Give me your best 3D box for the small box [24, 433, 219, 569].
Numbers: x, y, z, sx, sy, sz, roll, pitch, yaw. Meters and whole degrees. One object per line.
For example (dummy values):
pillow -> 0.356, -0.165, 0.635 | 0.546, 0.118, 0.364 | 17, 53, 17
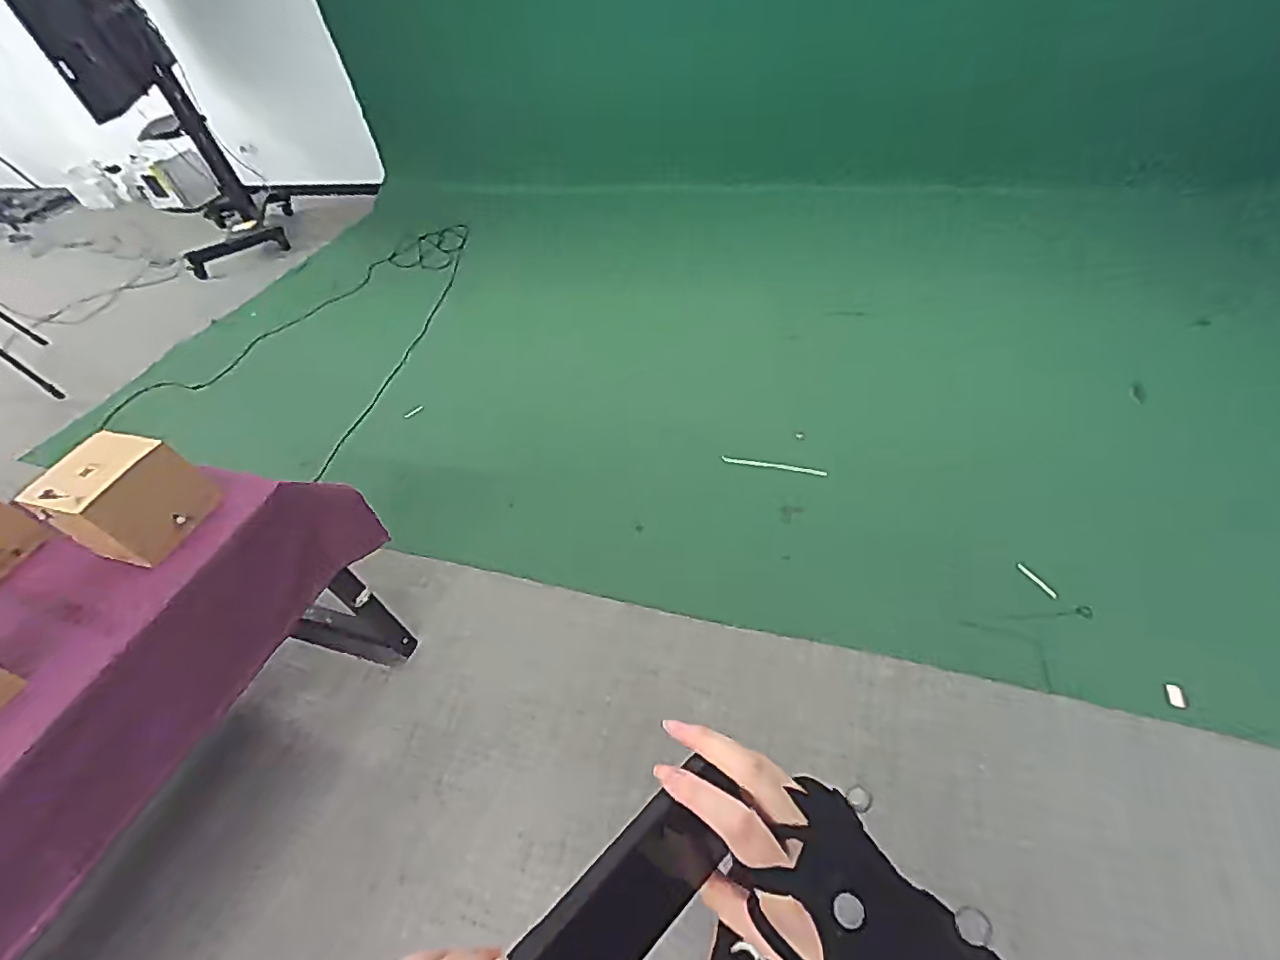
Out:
small box -> -0.947, 0.039, 1.014 | 0.168, 0.176, 0.179 | 8, 50, 16

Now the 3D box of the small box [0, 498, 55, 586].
small box -> -1.285, 0.109, 1.003 | 0.179, 0.176, 0.168 | 7, 50, 15

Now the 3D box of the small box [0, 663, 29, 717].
small box -> -1.085, 0.321, 0.783 | 0.168, 0.176, 0.179 | 12, 50, 19
